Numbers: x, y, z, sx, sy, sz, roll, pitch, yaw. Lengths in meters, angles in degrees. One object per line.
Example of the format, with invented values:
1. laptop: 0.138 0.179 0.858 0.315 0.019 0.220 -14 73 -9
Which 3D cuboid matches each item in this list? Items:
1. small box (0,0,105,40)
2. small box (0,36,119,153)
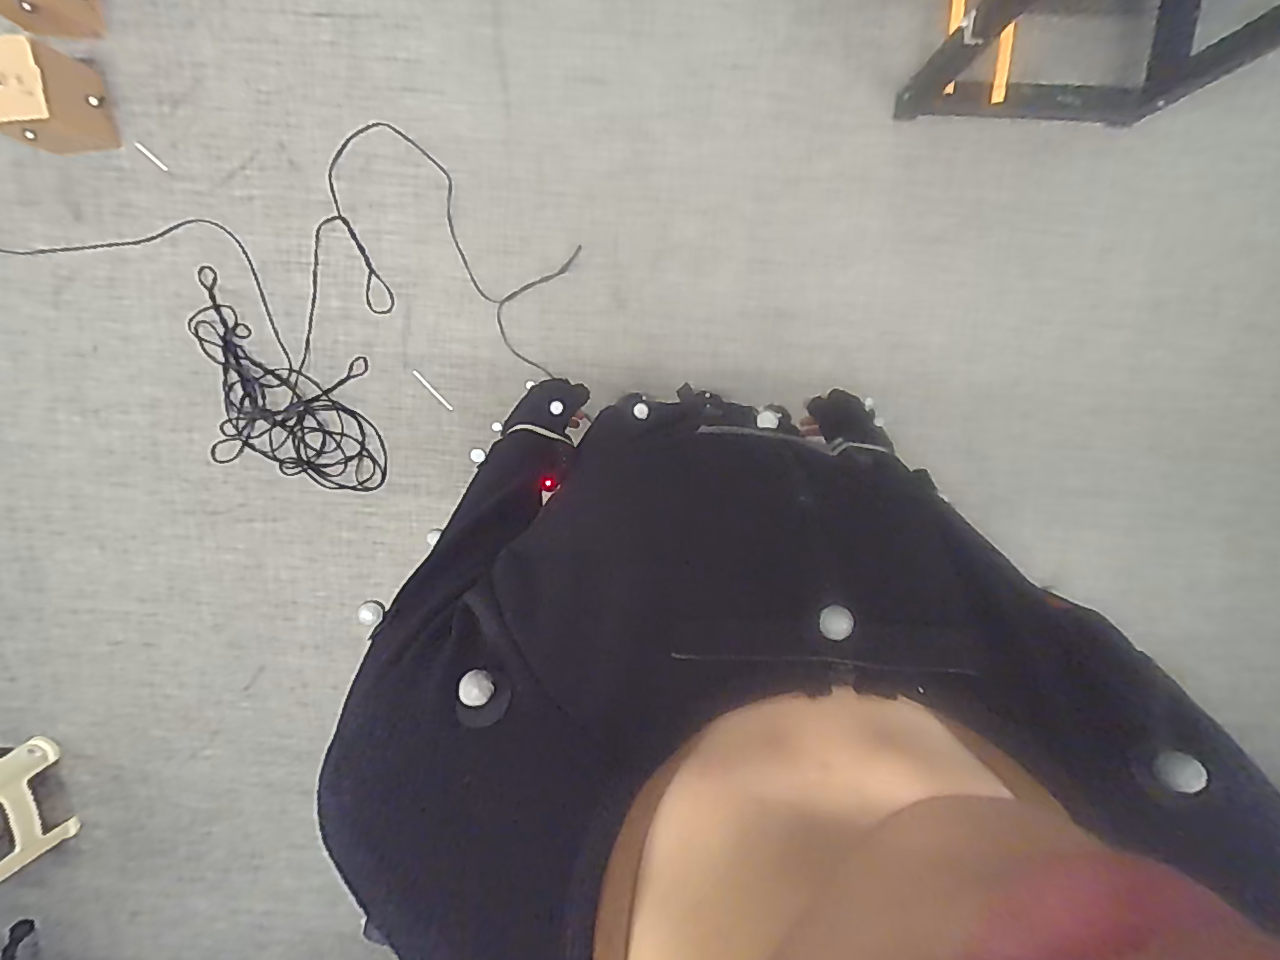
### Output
1. small box: -1.376 -1.134 1.217 0.179 0.176 0.168 3 101 -1
2. small box: -1.392 -0.886 1.260 0.179 0.176 0.168 -5 101 1
